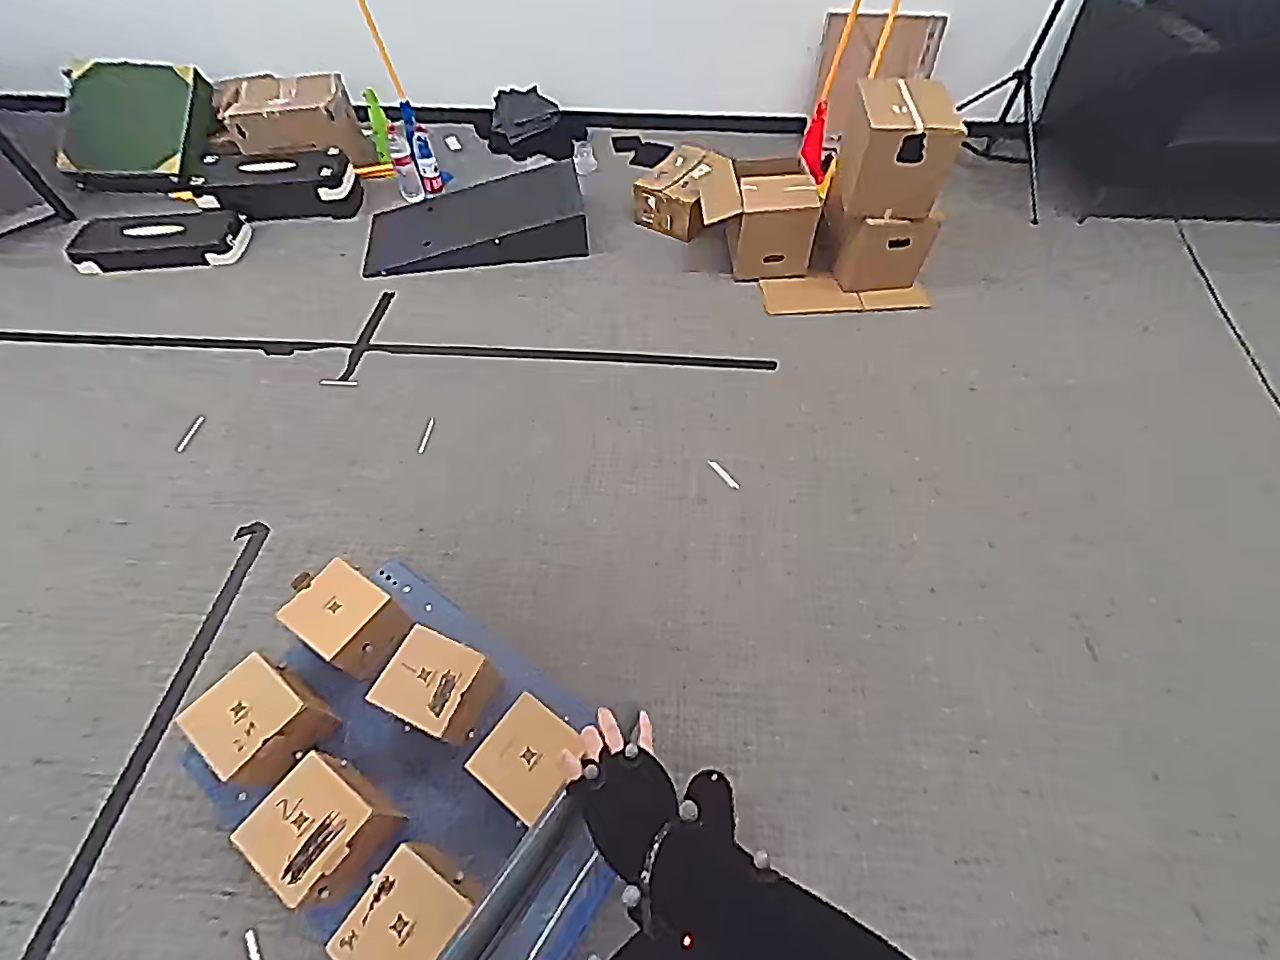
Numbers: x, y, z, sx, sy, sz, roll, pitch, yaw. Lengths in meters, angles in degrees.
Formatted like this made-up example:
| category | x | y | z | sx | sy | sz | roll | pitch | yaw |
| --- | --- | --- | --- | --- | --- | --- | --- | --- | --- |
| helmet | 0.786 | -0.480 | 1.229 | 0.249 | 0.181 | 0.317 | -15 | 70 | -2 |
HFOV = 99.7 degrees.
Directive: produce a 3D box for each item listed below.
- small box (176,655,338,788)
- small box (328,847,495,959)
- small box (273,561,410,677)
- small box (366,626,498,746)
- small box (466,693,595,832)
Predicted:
| category | x | y | z | sx | sy | sz | roll | pitch | yaw |
| --- | --- | --- | --- | --- | --- | --- | --- | --- | --- |
| small box | -0.756 | 0.489 | 1.086 | 0.179 | 0.176 | 0.168 | 33 | 61 | 18 |
| small box | -0.370 | 0.754 | 0.913 | 0.179 | 0.176 | 0.168 | 28 | 58 | 16 |
| small box | -0.653 | 0.317 | 1.208 | 0.179 | 0.176 | 0.168 | 28 | 60 | 17 |
| small box | -0.420 | 0.437 | 1.130 | 0.179 | 0.176 | 0.168 | 20 | 58 | 13 |
| small box | -0.202 | 0.553 | 1.057 | 0.179 | 0.176 | 0.168 | 31 | 60 | 19 |
